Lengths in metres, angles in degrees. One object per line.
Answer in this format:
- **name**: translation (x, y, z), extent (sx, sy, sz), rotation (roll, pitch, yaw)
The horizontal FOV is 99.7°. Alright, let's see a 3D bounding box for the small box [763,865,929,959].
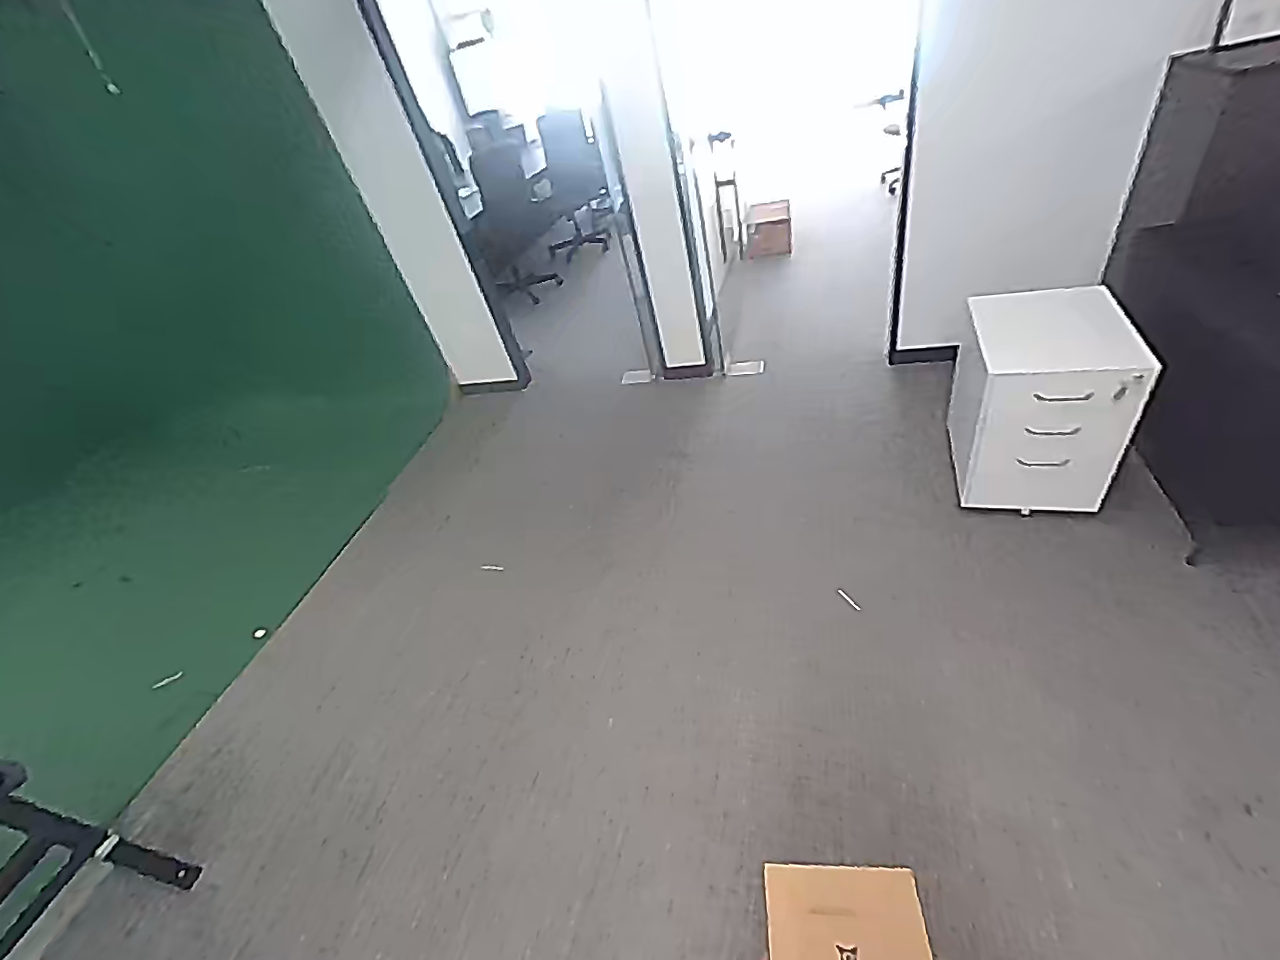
- **small box**: translation (0.232, 0.568, 0.607), extent (0.168, 0.176, 0.179), rotation (-5, 36, 11)
